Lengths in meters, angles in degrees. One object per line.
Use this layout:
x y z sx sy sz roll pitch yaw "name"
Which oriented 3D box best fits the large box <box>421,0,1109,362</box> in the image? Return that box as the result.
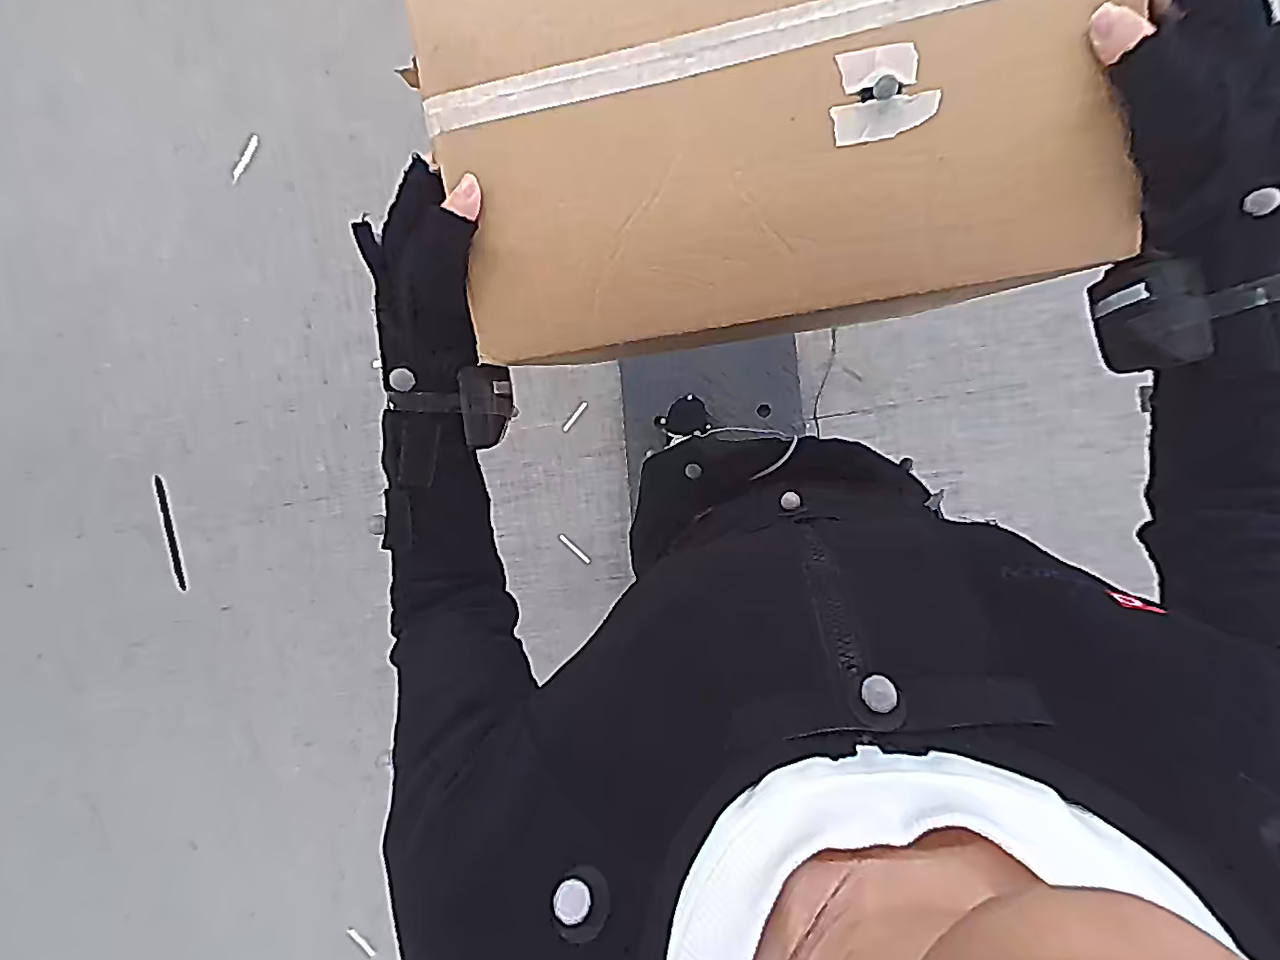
0.081 -0.294 0.475 0.408 0.320 0.320 -8 101 8 "large box"
